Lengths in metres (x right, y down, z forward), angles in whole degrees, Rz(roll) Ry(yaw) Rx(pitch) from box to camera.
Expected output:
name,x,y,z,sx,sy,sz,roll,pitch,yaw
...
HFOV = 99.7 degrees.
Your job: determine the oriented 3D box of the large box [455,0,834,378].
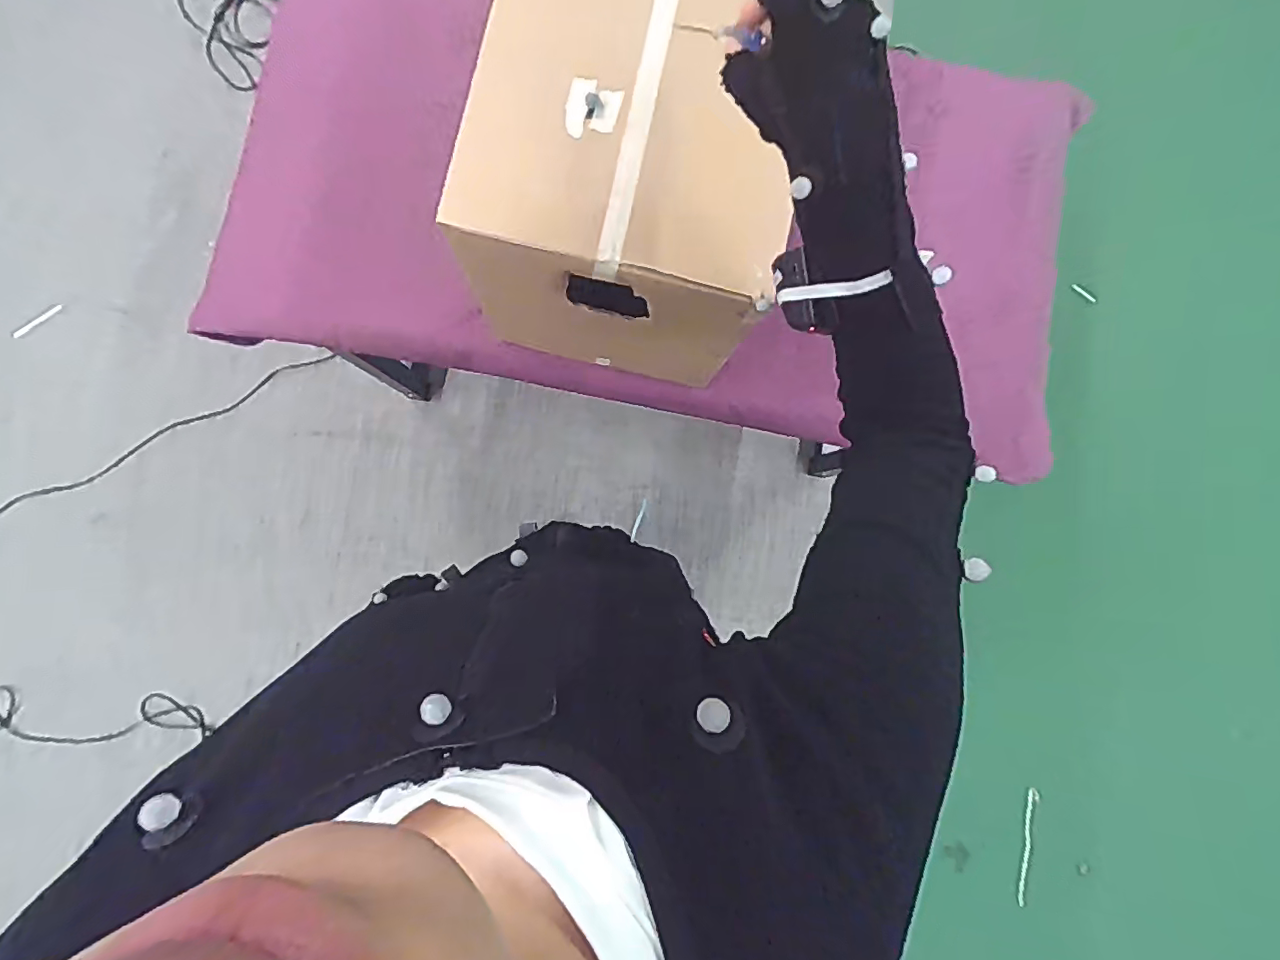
name,x,y,z,sx,sy,sz,roll,pitch,yaw
large box,0.005,-0.385,0.665,0.320,0.320,0.408,13,86,-3
